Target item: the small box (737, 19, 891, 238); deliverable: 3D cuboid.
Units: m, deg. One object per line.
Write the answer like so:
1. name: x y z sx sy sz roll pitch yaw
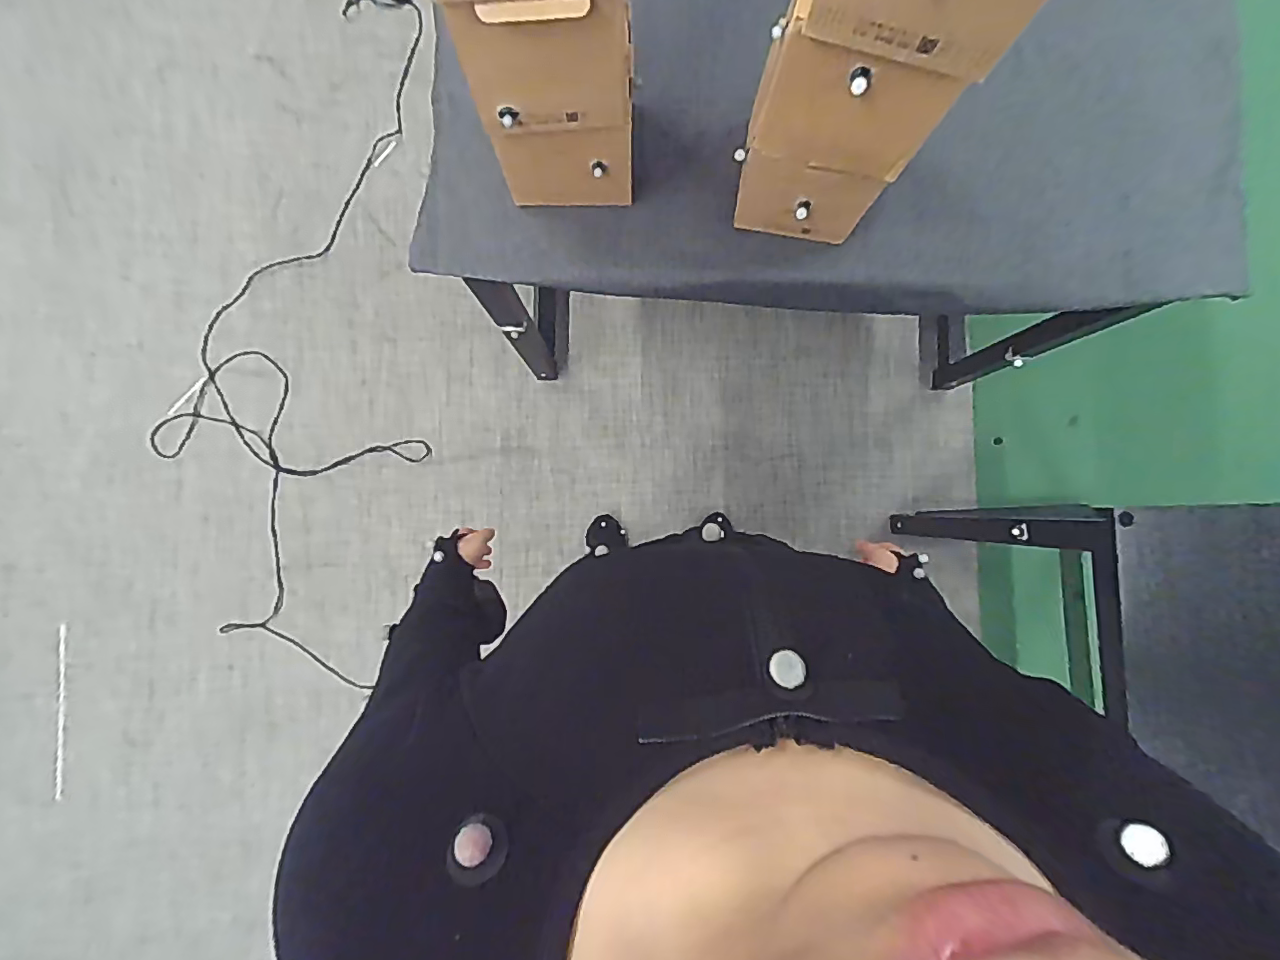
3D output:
1. small box: 0.231 -0.452 0.722 0.168 0.176 0.179 9 86 1

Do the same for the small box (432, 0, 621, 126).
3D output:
1. small box: -0.109 -0.501 0.561 0.168 0.176 0.179 -5 84 -1

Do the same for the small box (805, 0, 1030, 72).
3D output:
1. small box: 0.235 -0.452 0.393 0.168 0.176 0.179 16 86 1

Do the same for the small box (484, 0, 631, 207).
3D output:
1. small box: -0.100 -0.490 0.725 0.179 0.176 0.168 -1 85 1

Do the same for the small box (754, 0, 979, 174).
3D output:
1. small box: 0.234 -0.454 0.559 0.179 0.176 0.168 14 86 2
